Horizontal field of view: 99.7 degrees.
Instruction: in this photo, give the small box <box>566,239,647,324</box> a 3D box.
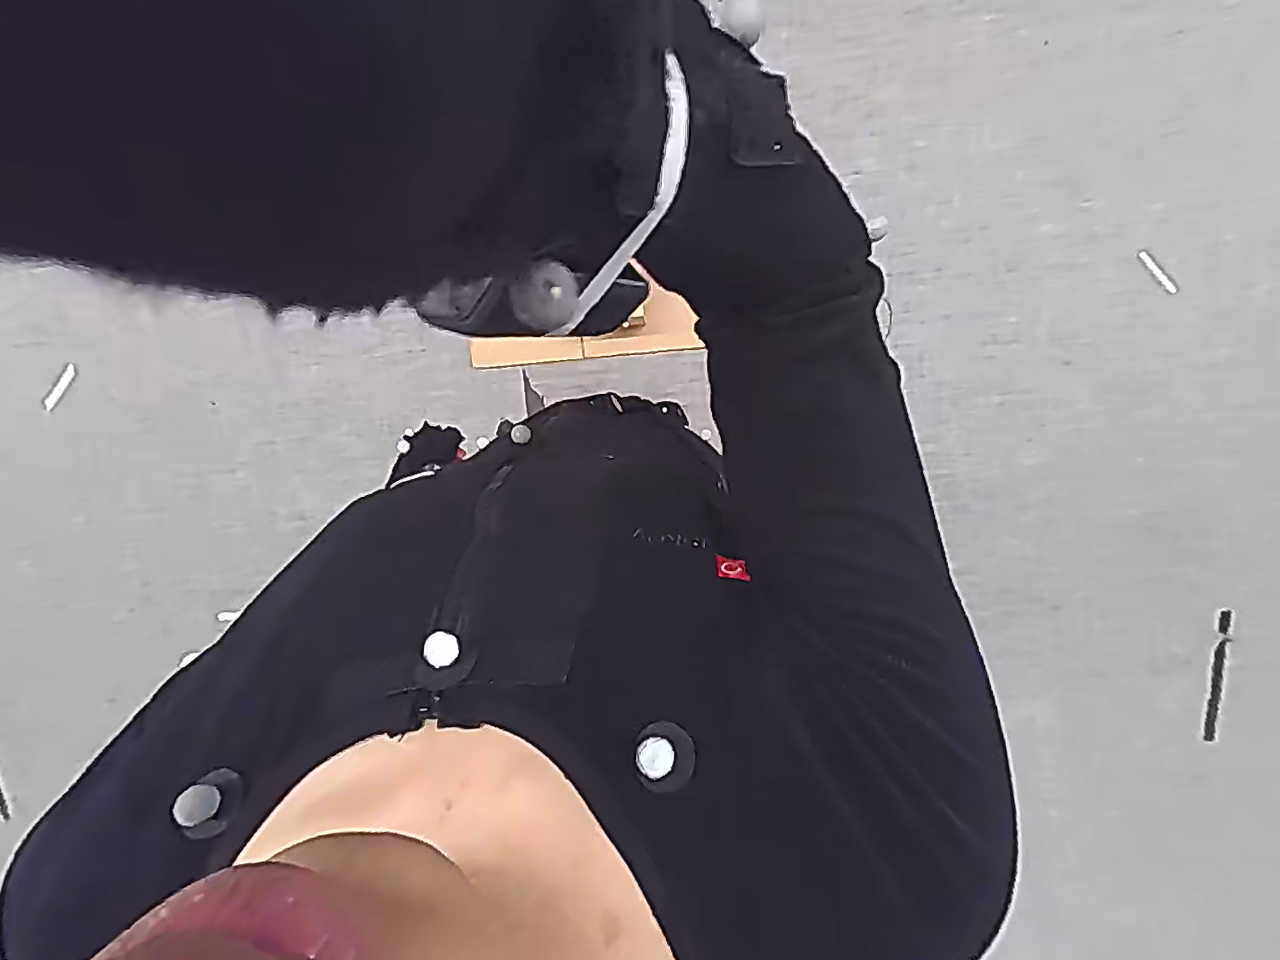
[{"bbox_3d":[-0.074,-0.476,1.312,0.179,0.176,0.168,-3,100,4],"label":"small box"}]
